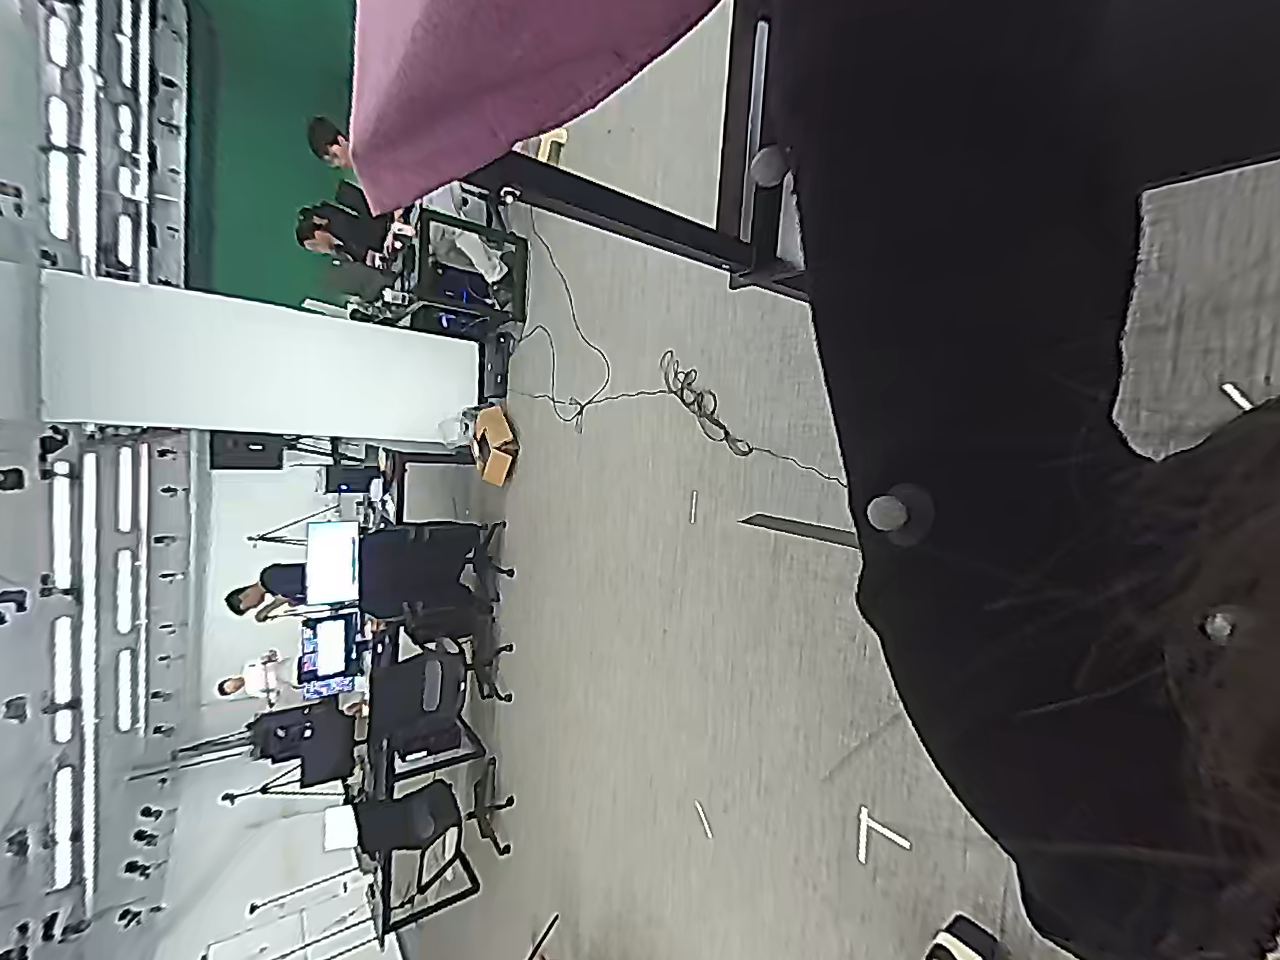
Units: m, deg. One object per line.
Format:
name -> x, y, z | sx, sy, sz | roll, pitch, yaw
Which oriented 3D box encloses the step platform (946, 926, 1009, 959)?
step platform -> 0.974, 1.354, 1.126 | 0.684, 0.204, 0.286 | 19, 104, 52
